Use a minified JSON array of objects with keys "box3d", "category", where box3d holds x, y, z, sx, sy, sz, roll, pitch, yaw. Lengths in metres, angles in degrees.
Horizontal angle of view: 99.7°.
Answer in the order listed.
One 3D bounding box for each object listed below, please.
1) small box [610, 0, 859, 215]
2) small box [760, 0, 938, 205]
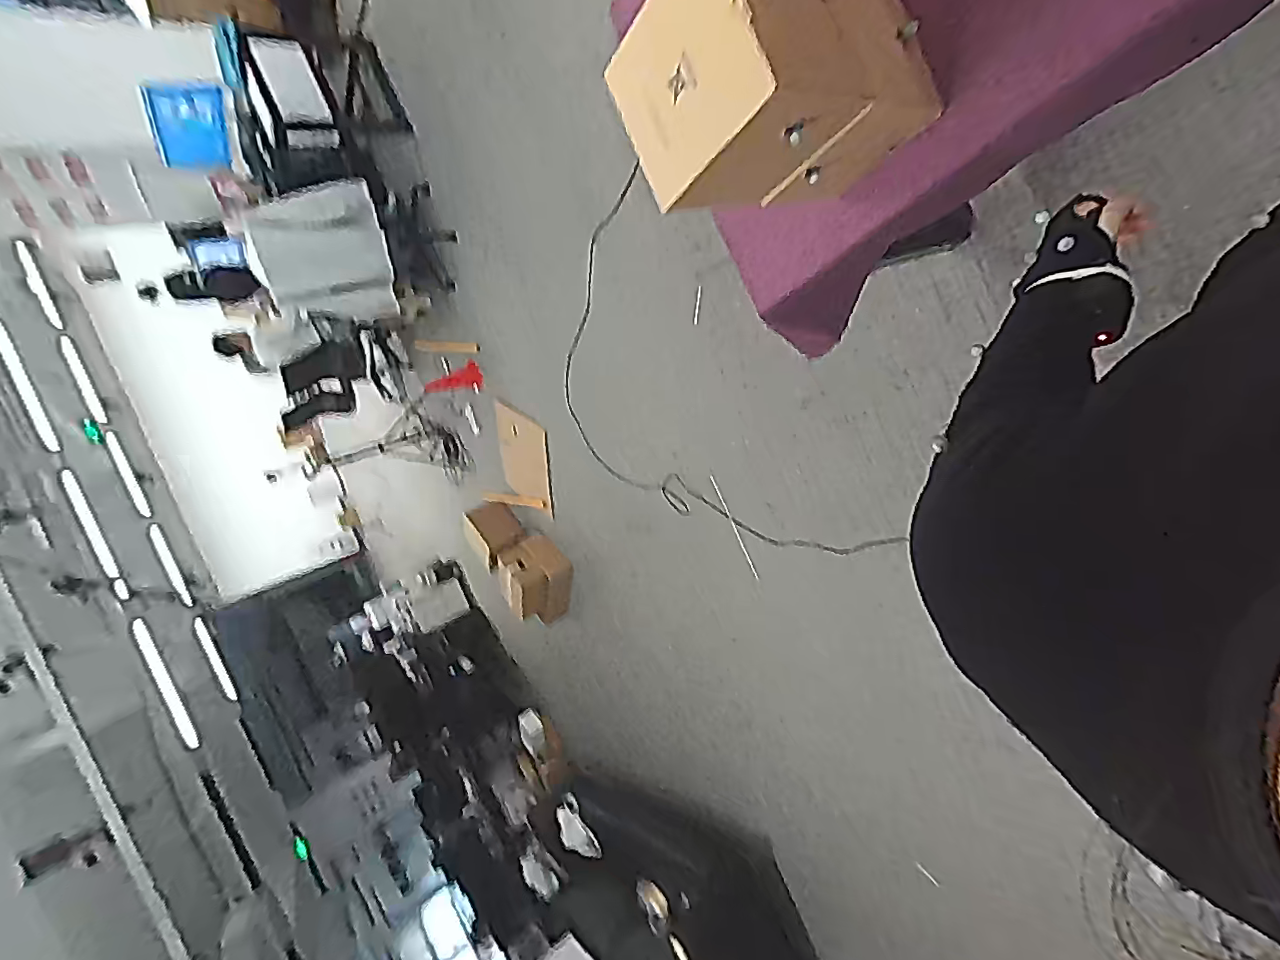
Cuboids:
[{"box3d":[0.104,-0.413,0.575,0.179,0.176,0.168,-21,93,56],"category":"small box"},{"box3d":[0.227,-0.469,0.667,0.168,0.176,0.179,-22,91,56],"category":"small box"}]
